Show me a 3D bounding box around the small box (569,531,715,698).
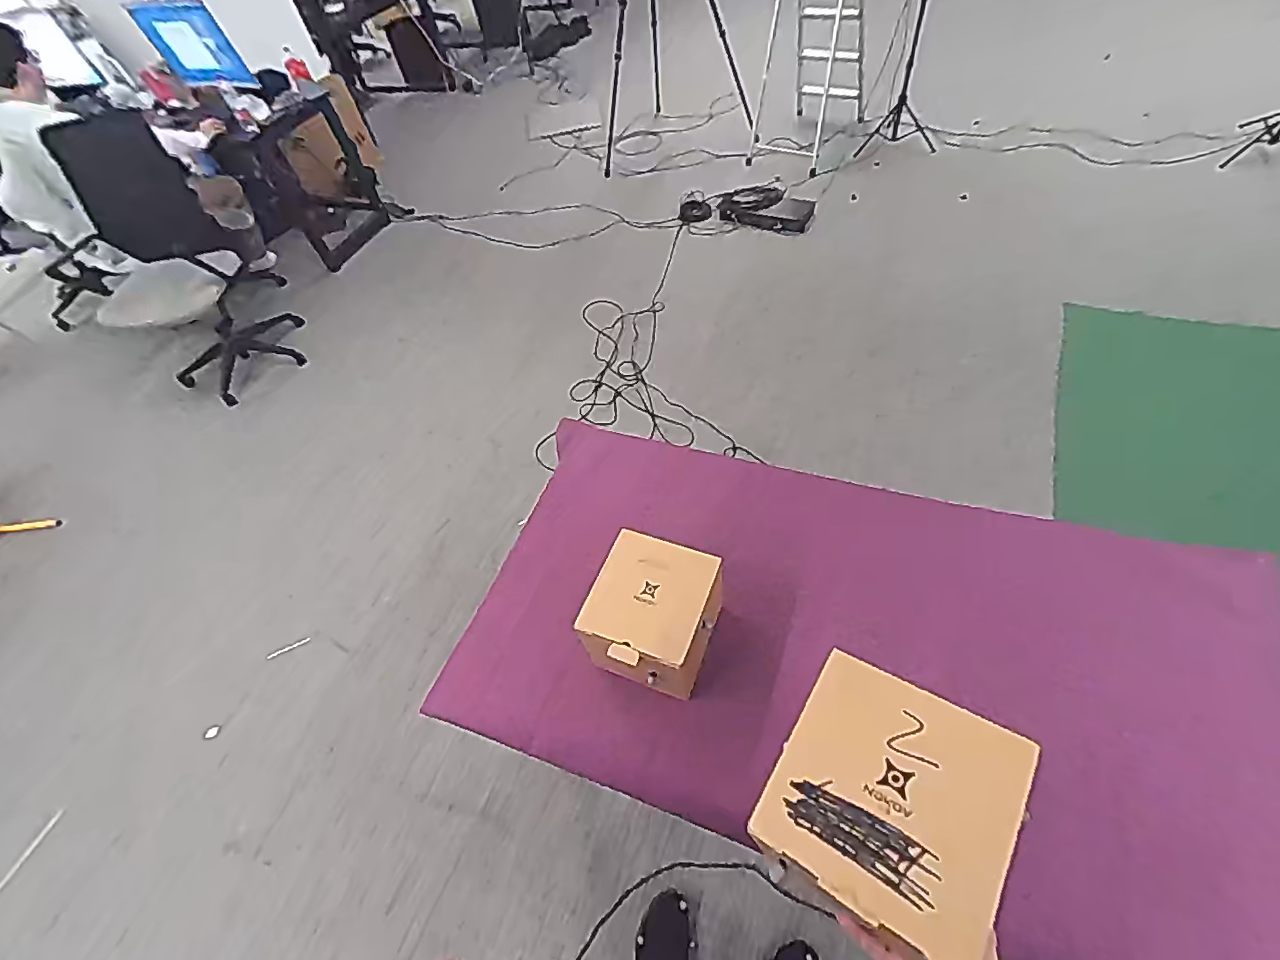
[{"bbox_3d":[0.016,0.214,0.845,0.168,0.176,0.179,16,56,19],"label":"small box"}]
